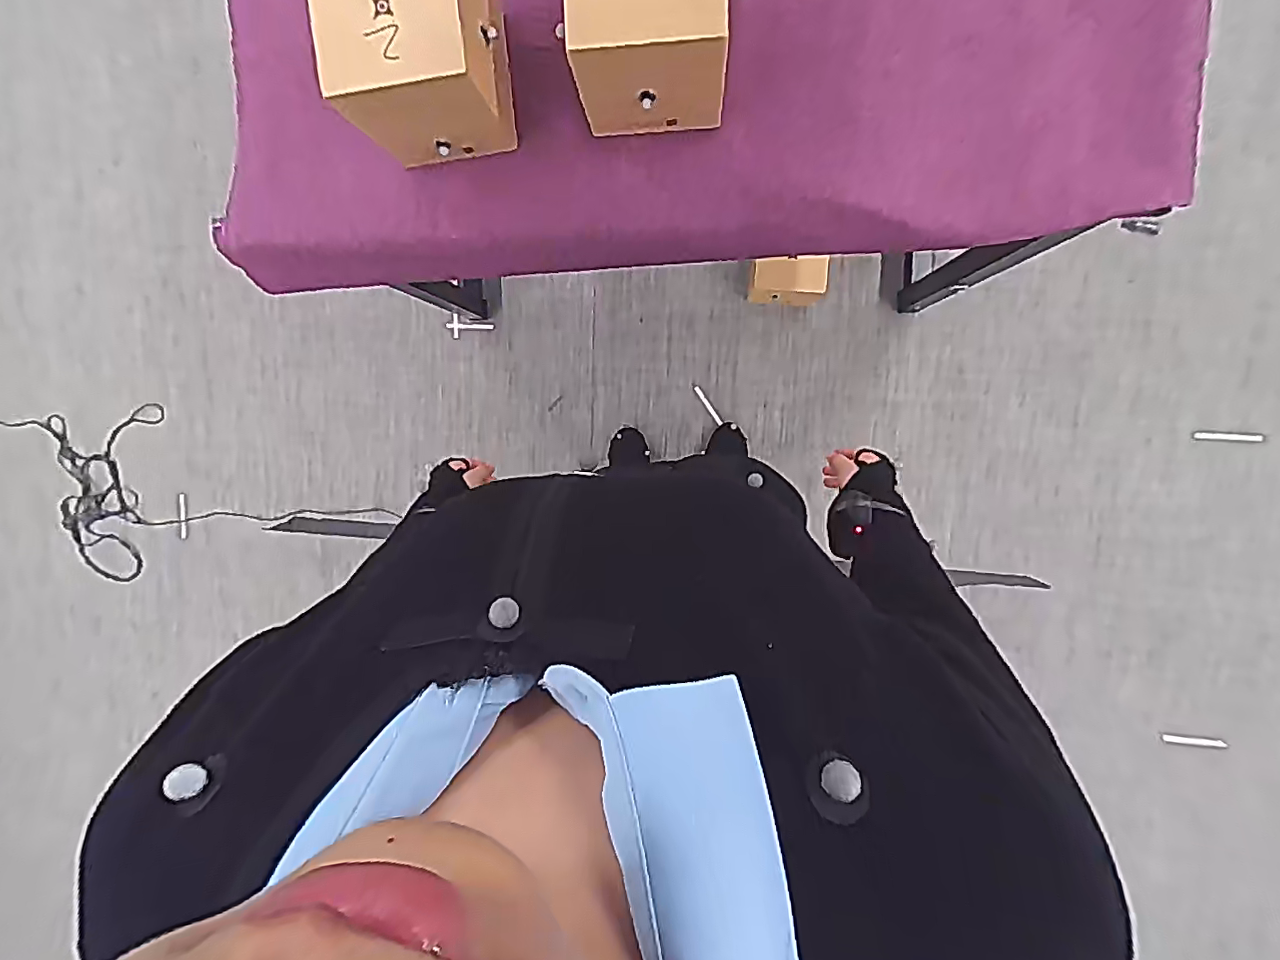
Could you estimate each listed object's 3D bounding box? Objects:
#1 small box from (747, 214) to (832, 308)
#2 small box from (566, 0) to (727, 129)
[{"bbox_3d":[0.357,-0.528,1.324,0.168,0.176,0.179,6,96,5],"label":"small box"},{"bbox_3d":[0.014,-0.529,0.617,0.168,0.176,0.179,0,95,4],"label":"small box"}]
